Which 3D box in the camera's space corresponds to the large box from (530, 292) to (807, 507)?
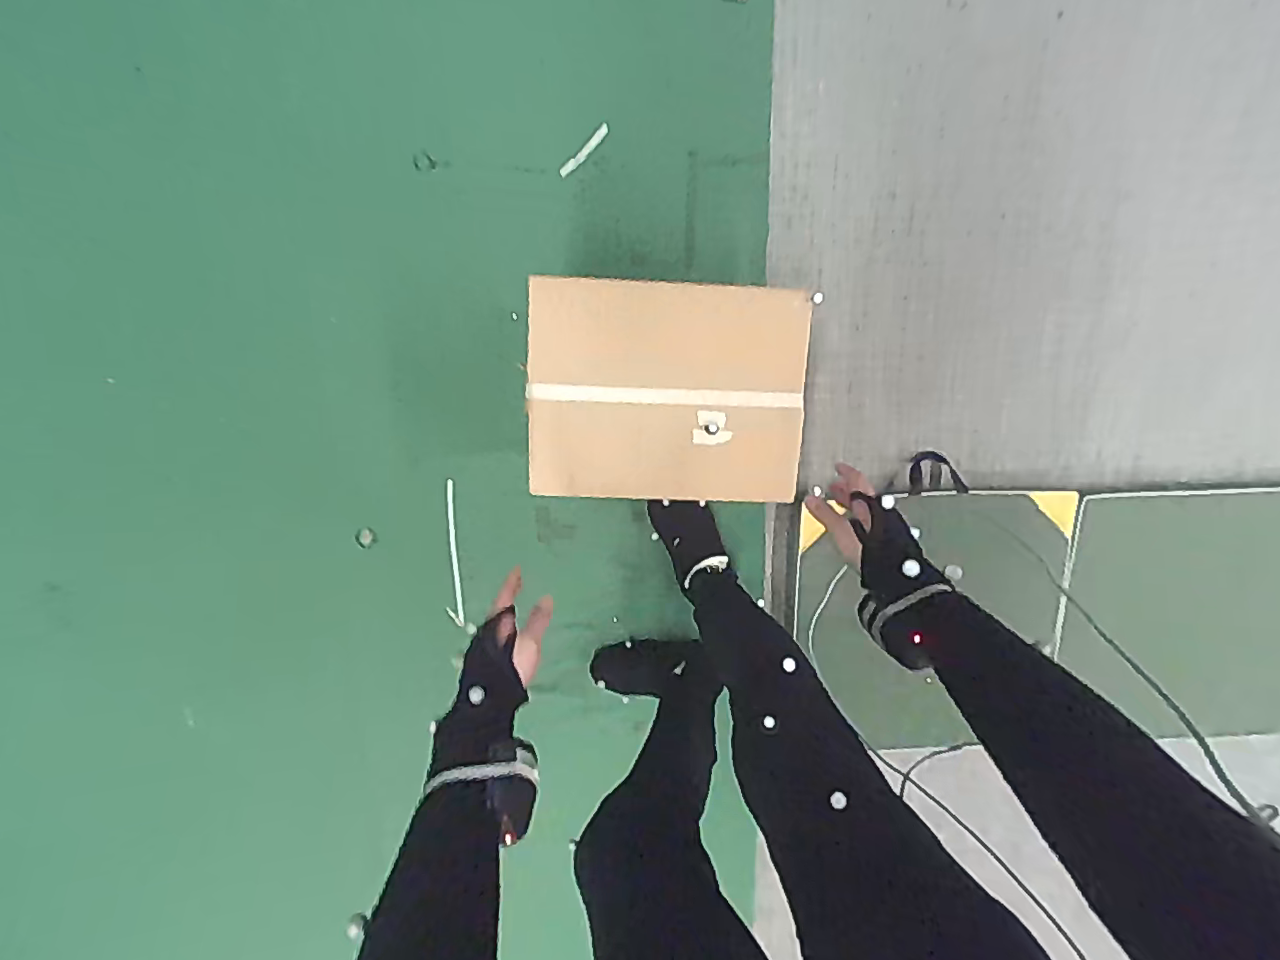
[{"bbox_3d":[0.031,-0.137,0.940,0.408,0.320,0.320,1,101,-4],"label":"large box"}]
